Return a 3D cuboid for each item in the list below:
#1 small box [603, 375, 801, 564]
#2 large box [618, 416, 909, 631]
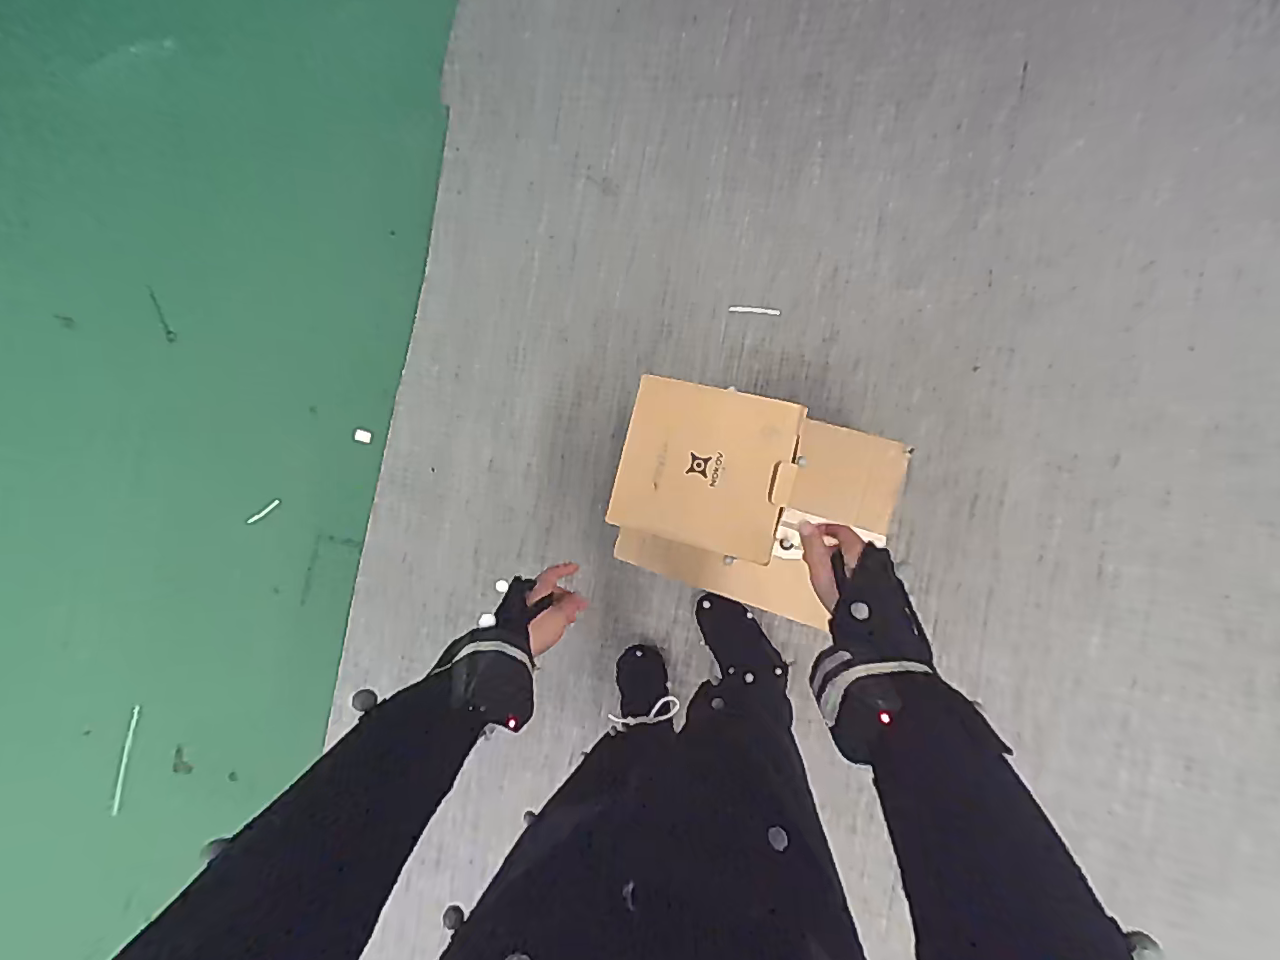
[{"bbox_3d":[0.079,-0.008,0.631,0.179,0.176,0.168,13,88,15],"label":"small box"},{"bbox_3d":[0.218,0.047,1.012,0.408,0.320,0.320,16,90,14],"label":"large box"}]
